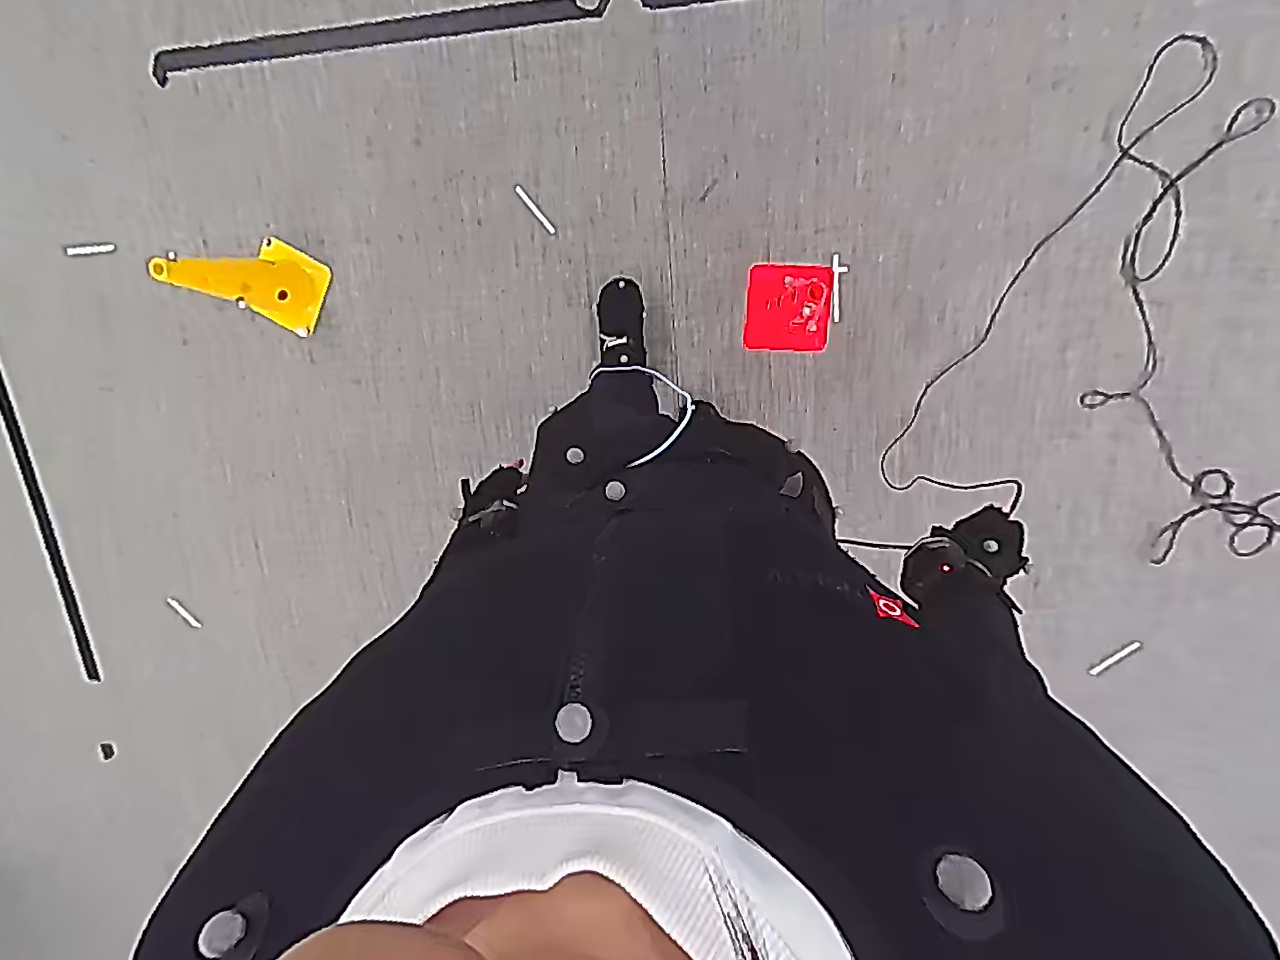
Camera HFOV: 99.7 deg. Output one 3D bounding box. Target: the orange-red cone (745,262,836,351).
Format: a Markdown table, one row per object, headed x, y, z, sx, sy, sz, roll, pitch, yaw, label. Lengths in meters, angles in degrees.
| x | y | z | sx | sy | sz | roll | pitch | yaw | label |
| --- | --- | --- | --- | --- | --- | --- | --- | --- | --- |
| 0.333 | -0.377 | 1.126 | 0.199 | 0.360 | 0.198 | 6 | 103 | 7 | orange-red cone |
